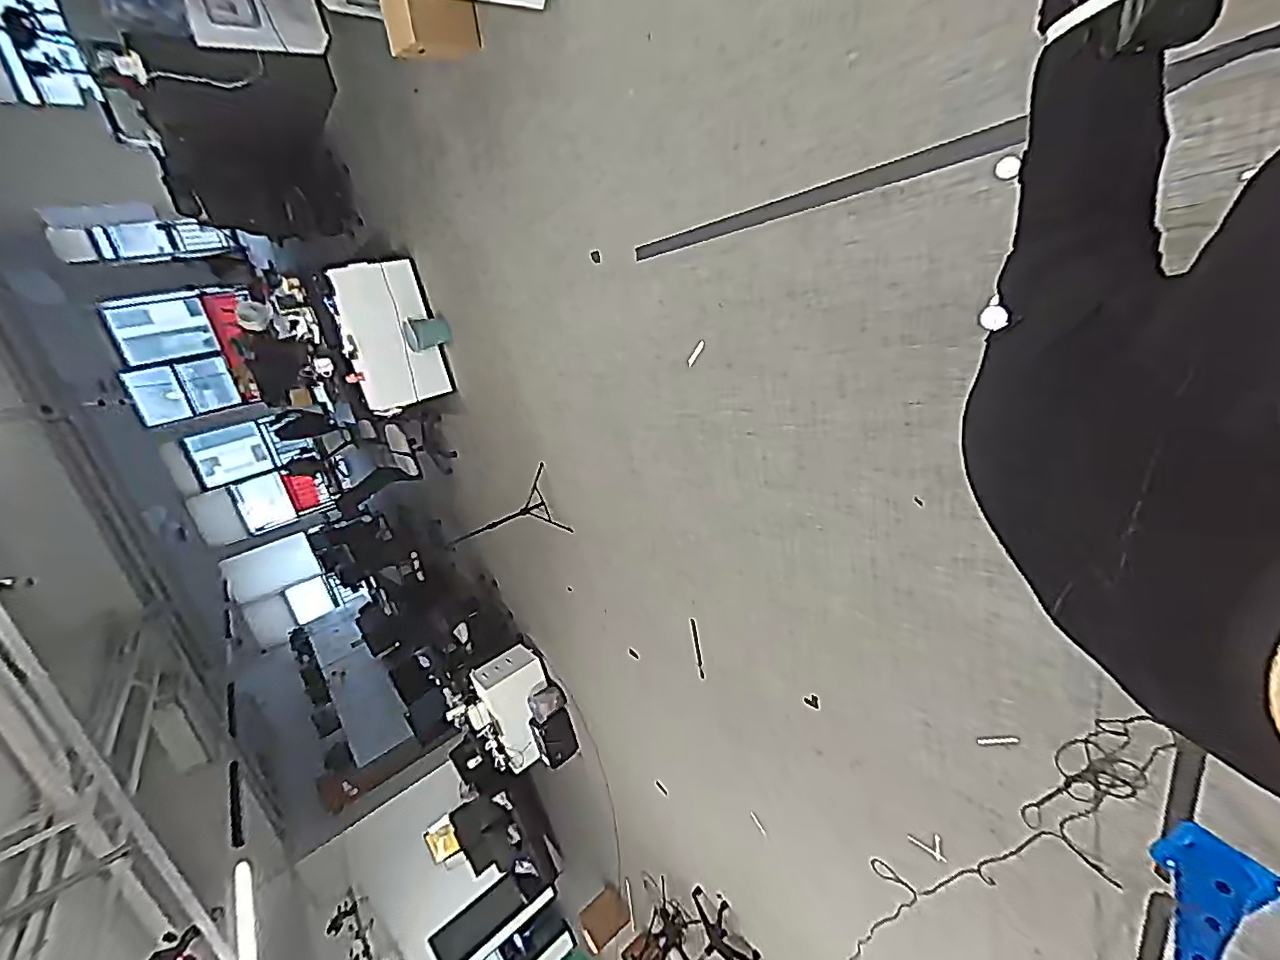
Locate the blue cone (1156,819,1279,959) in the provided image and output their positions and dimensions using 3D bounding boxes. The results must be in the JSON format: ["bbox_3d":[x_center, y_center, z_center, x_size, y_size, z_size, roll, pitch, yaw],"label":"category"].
[{"bbox_3d":[1.338,1.028,1.281,0.193,0.380,0.192,35,137,37],"label":"blue cone"}]
